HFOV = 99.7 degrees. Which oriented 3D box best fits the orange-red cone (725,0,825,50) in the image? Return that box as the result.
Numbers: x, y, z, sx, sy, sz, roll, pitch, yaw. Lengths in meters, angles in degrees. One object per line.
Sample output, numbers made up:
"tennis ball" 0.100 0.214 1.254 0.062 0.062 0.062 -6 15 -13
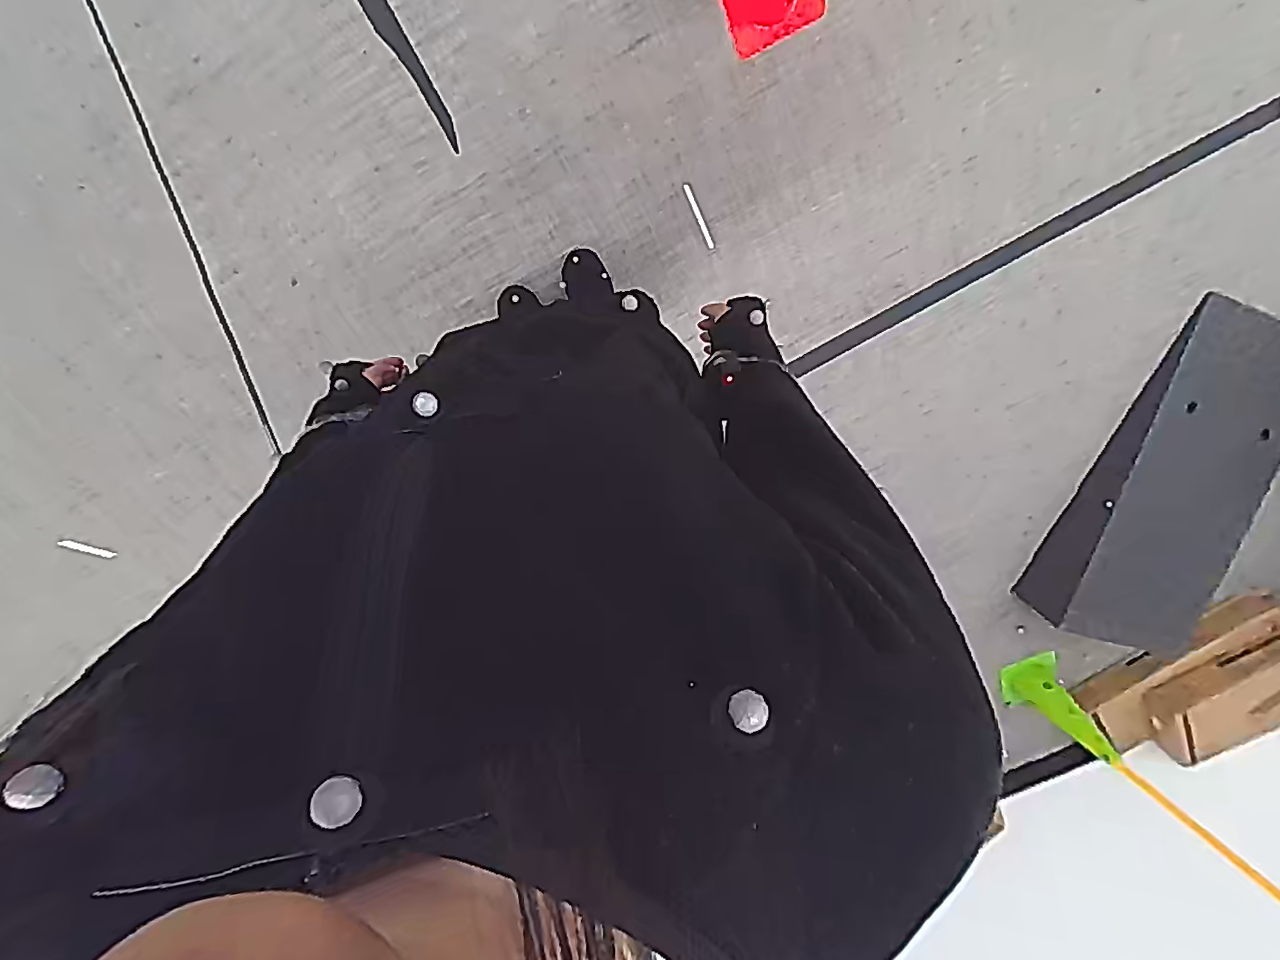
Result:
"orange-red cone" 0.272 -0.932 0.917 0.198 0.360 0.199 -24 114 5
